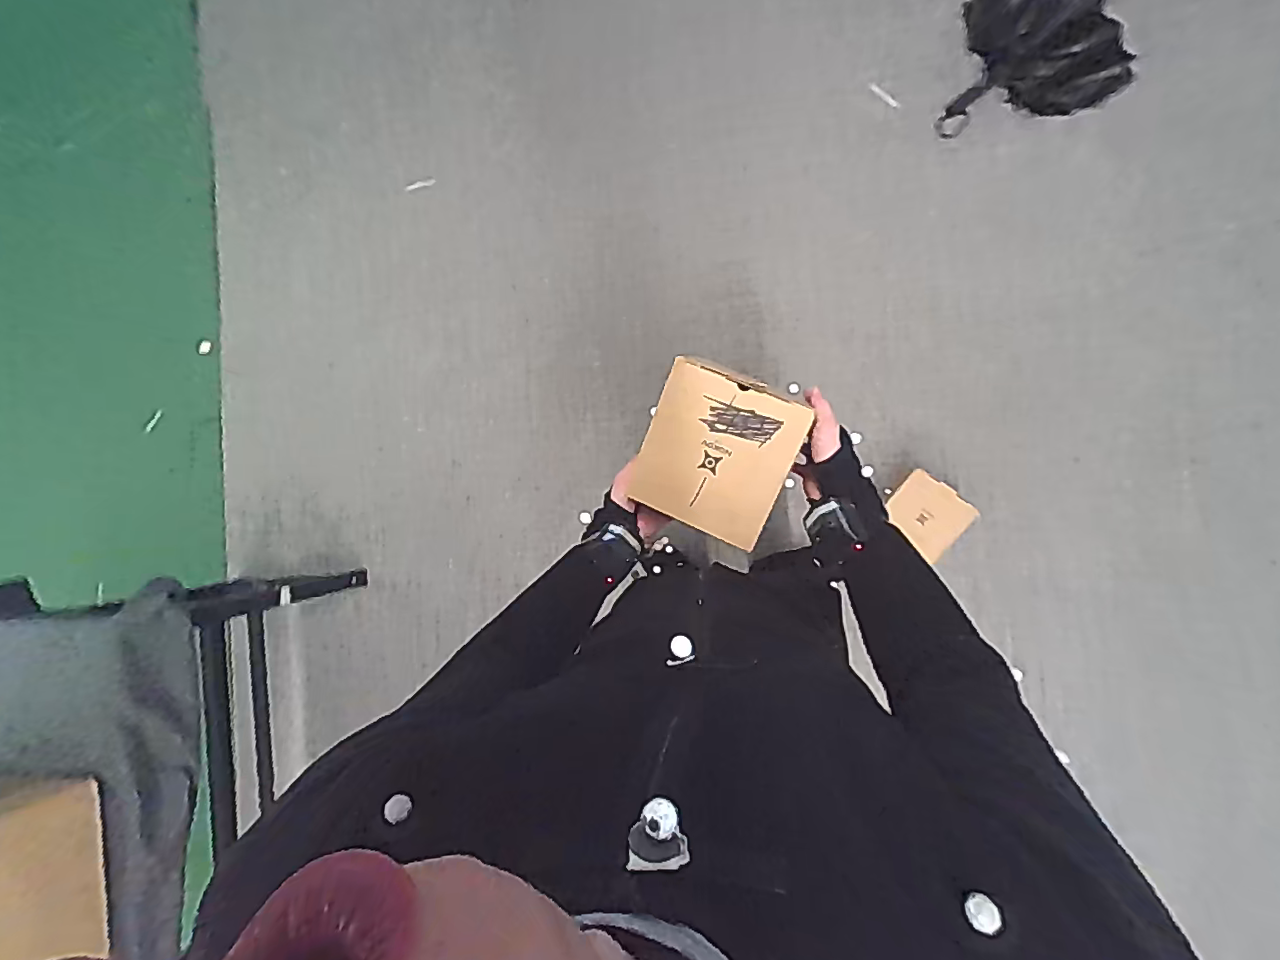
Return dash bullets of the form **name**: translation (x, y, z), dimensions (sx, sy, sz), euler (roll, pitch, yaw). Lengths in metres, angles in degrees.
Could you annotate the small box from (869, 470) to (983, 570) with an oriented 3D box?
- **small box**: translation (0.686, 0.092, 1.327), dimensions (0.168, 0.176, 0.179), euler (40, 100, 14)
